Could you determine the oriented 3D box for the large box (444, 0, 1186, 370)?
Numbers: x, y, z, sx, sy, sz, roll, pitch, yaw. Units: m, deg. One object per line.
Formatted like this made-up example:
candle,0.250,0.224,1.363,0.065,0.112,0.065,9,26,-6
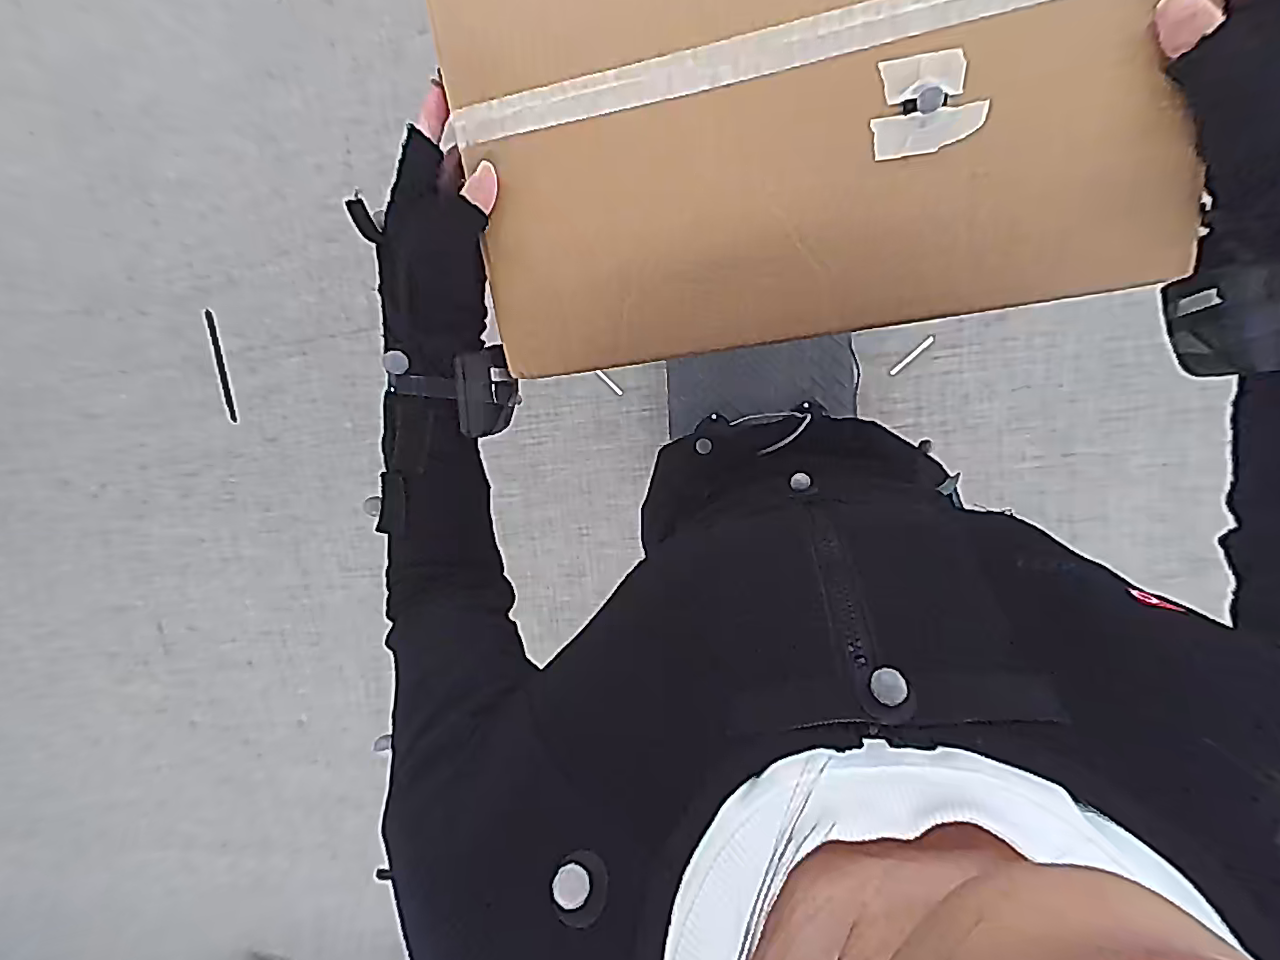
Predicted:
large box,0.105,-0.288,0.453,0.408,0.320,0.320,-7,105,10
